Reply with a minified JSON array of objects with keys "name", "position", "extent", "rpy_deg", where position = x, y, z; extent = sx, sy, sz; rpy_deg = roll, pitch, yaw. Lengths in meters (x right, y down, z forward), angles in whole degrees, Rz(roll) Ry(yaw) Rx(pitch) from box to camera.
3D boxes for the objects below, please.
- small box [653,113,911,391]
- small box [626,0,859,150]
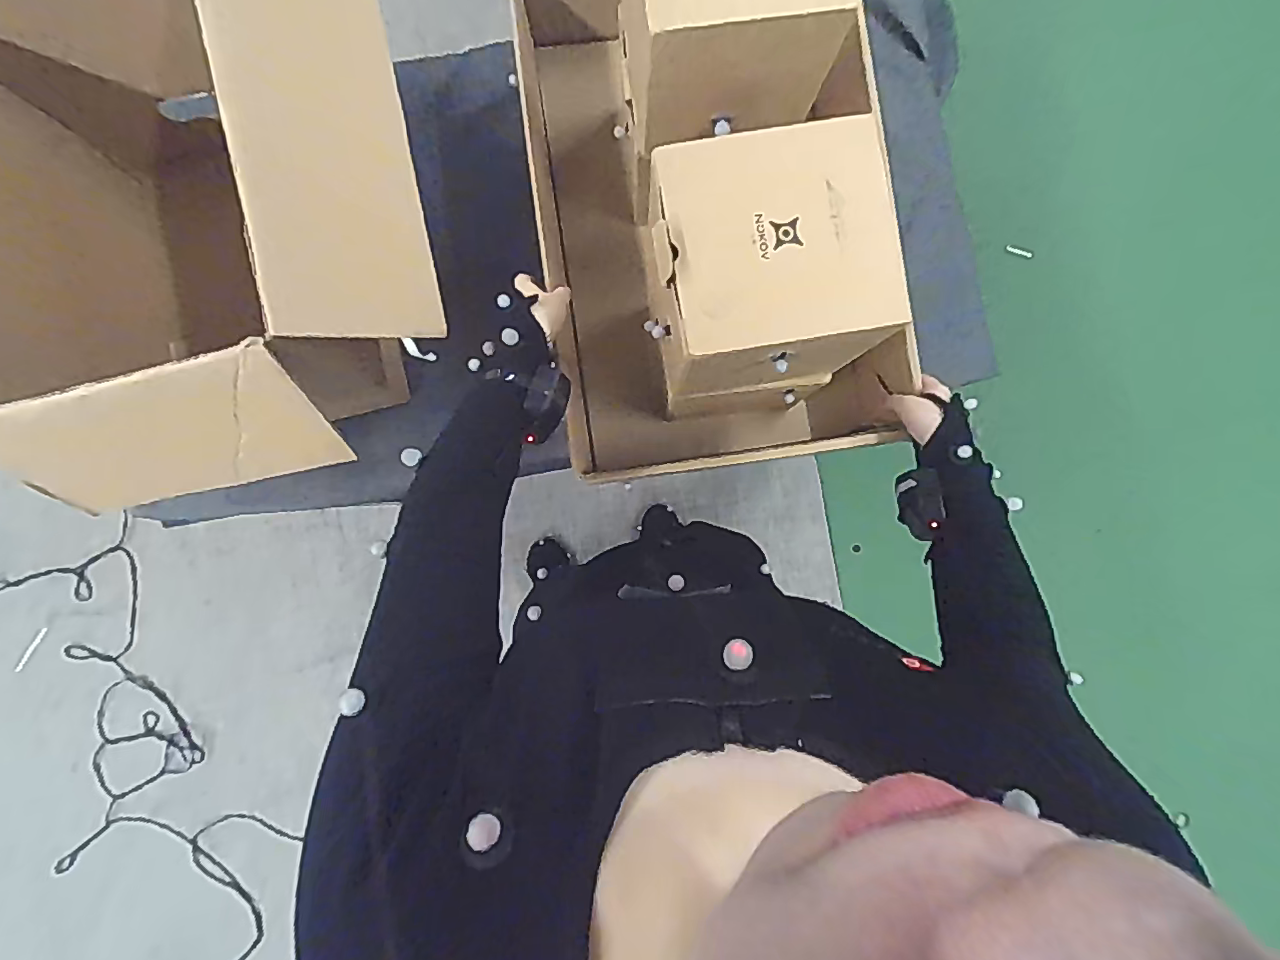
[{"name":"small box","position":[0.108,-0.186,0.491],"extent":[0.179,0.176,0.168],"rpy_deg":[-10,89,-1]},{"name":"small box","position":[0.077,-0.437,0.493],"extent":[0.168,0.176,0.179],"rpy_deg":[-7,92,-1]}]
